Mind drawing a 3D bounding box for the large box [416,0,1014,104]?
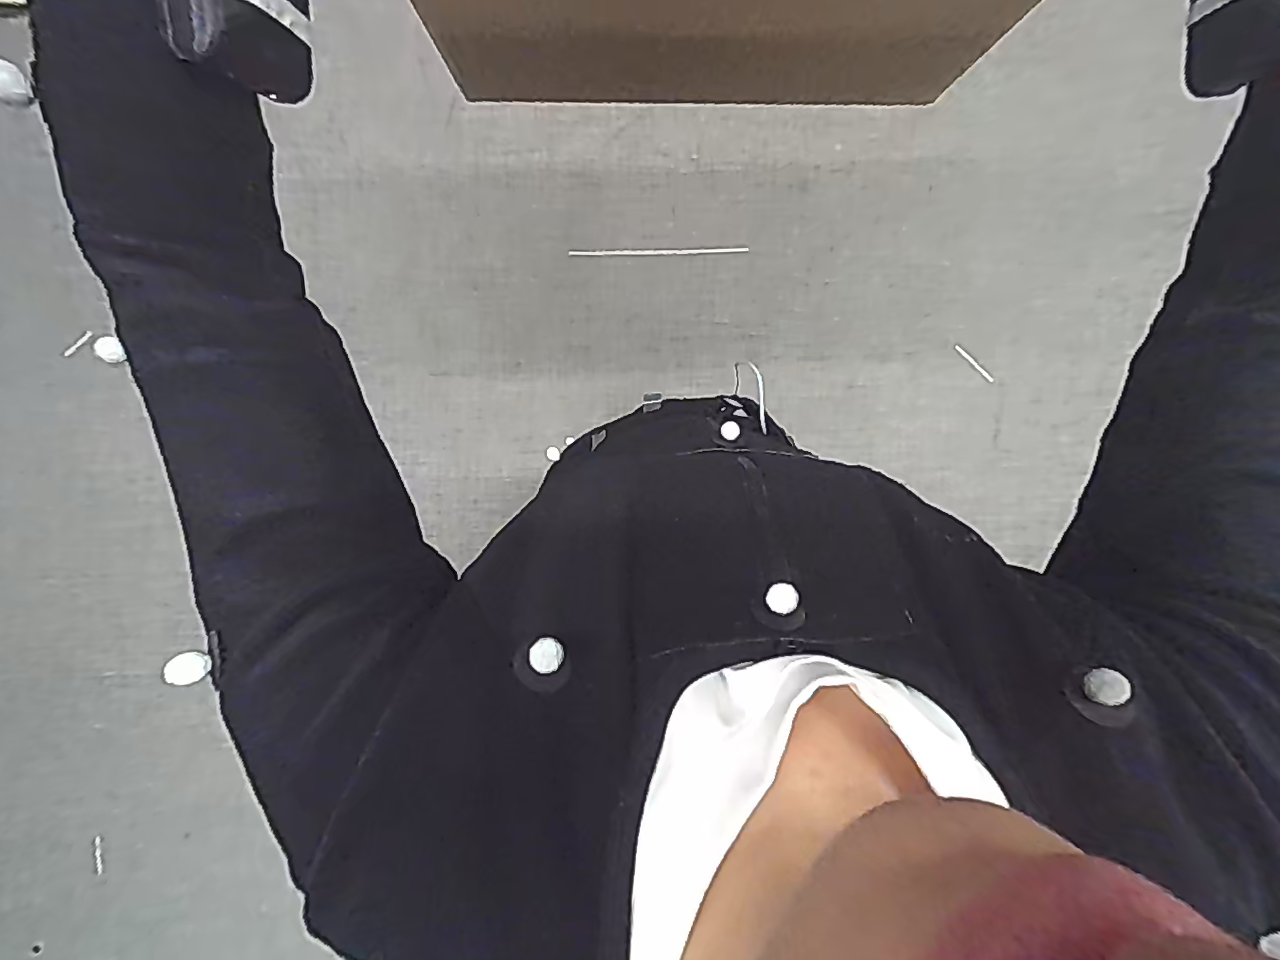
[{"bbox_3d":[0.049,-0.451,0.294,0.408,0.320,0.320,-1,100,-2],"label":"large box"}]
